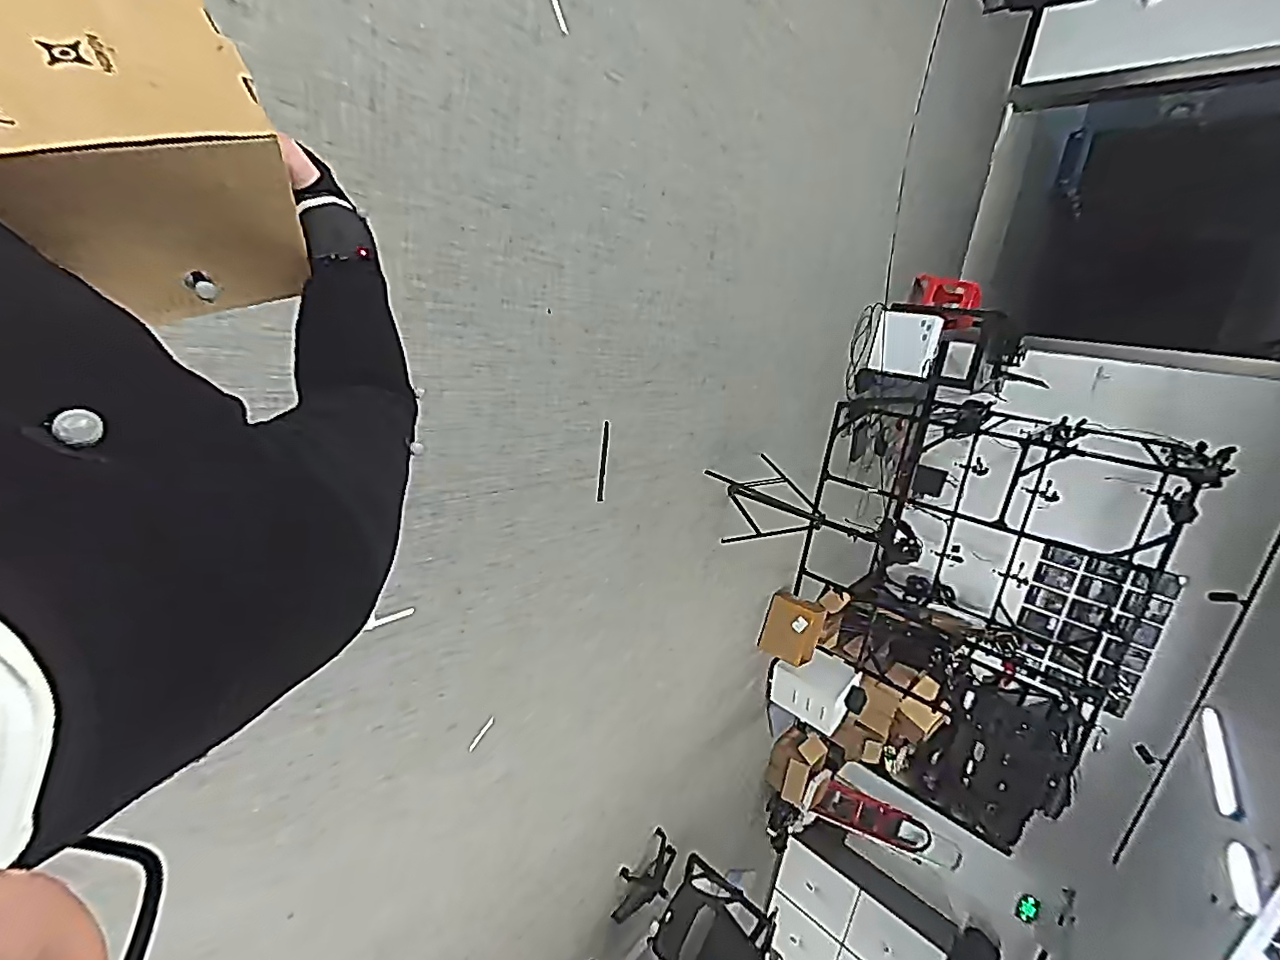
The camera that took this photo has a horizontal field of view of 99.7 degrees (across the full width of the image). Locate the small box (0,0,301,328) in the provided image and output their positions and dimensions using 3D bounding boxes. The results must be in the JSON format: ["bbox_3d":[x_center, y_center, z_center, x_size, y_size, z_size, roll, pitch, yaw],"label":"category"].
[{"bbox_3d":[-0.409,-0.256,0.448,0.179,0.168,0.176,-26,168,-30],"label":"small box"}]
